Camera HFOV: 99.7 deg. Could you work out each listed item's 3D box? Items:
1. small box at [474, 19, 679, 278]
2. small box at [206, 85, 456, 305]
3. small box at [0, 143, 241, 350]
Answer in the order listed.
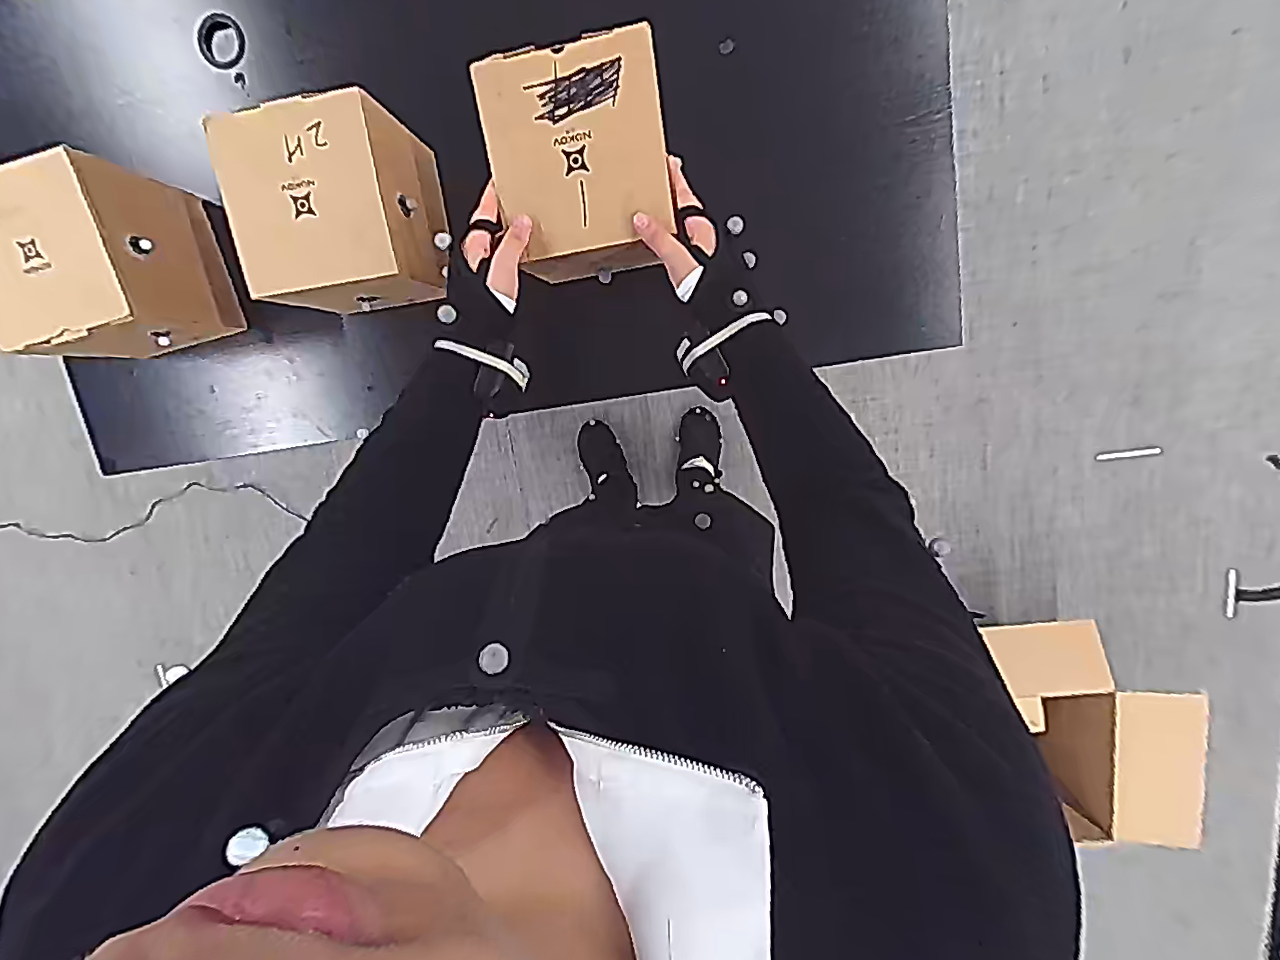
[{"bbox_3d":[-0.051,-0.323,0.569,0.168,0.176,0.179,-8,105,7],"label":"small box"},{"bbox_3d":[-0.329,-0.302,0.617,0.168,0.176,0.179,-7,101,4],"label":"small box"},{"bbox_3d":[-0.633,-0.259,0.647,0.168,0.176,0.179,-13,100,5],"label":"small box"}]
